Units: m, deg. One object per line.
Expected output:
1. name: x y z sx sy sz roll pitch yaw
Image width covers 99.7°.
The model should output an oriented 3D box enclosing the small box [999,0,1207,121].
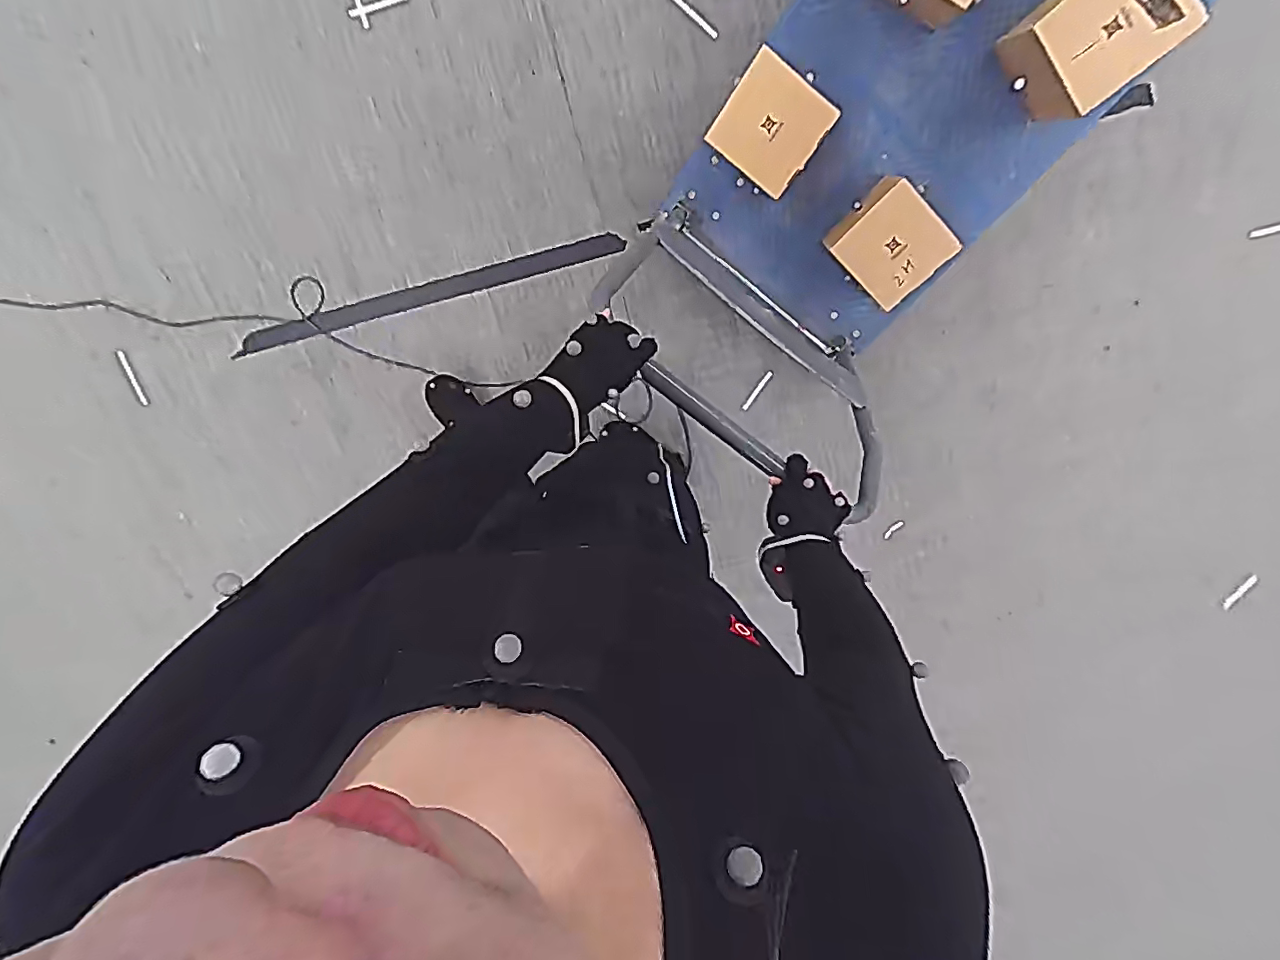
1. small box: 0.738 -0.727 0.883 0.179 0.176 0.168 -36 107 28

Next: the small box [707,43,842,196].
1. small box: 0.246 -0.666 1.021 0.179 0.176 0.168 34 120 -10

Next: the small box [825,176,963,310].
1. small box: 0.493 -0.474 1.080 0.179 0.176 0.168 41 120 -12
